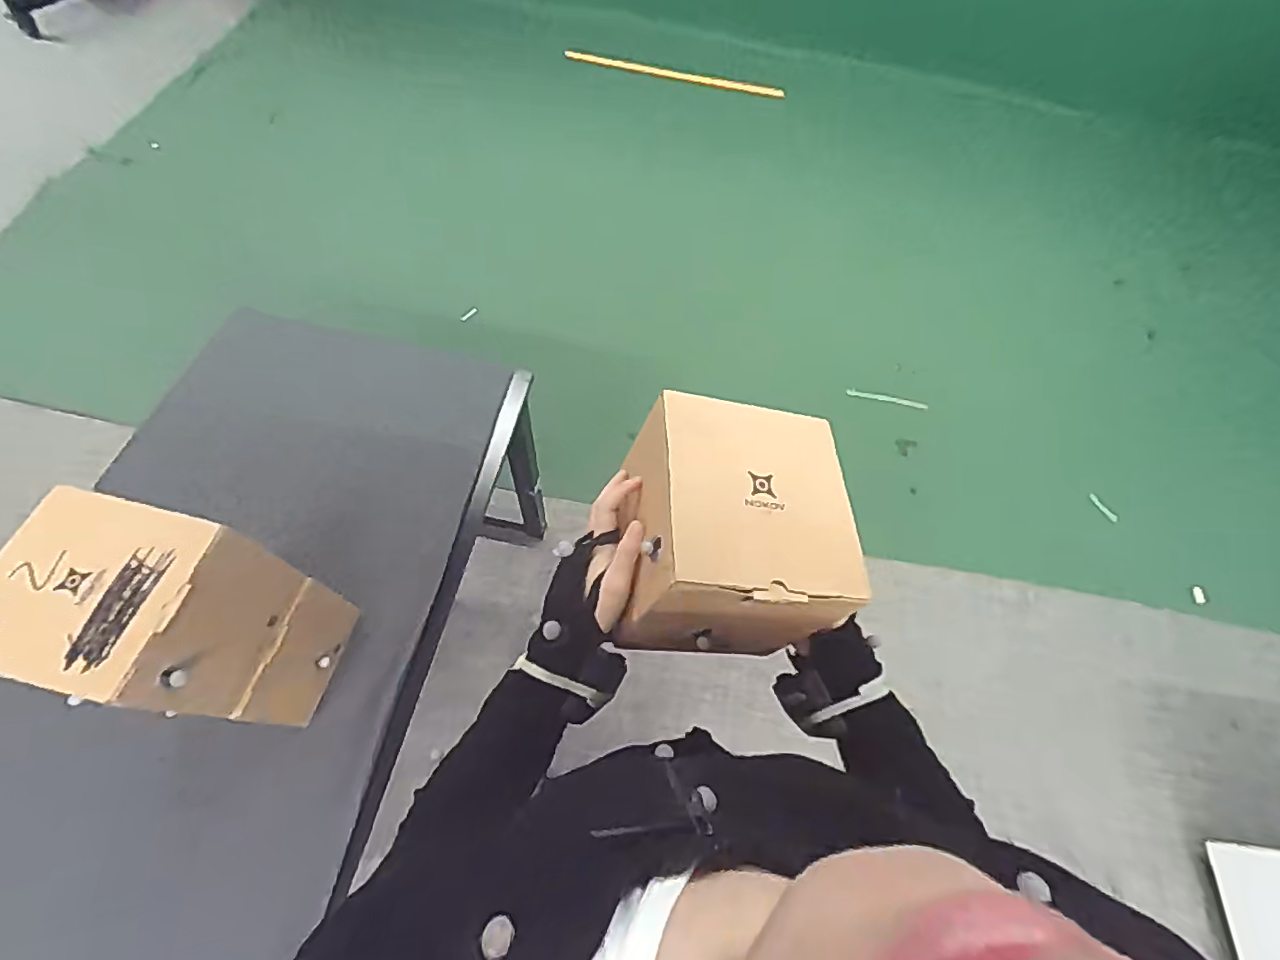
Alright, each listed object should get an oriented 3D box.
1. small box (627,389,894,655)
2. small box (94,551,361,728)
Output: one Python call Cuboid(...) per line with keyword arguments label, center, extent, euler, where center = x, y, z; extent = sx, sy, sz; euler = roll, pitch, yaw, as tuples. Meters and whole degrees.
Cuboid(label="small box", center=(0.087, 0.048, 0.493), extent=(0.168, 0.176, 0.179), euler=(7, 58, -15))
Cuboid(label="small box", center=(-0.501, 0.211, 0.692), extent=(0.179, 0.176, 0.168), euler=(13, 62, 2))
